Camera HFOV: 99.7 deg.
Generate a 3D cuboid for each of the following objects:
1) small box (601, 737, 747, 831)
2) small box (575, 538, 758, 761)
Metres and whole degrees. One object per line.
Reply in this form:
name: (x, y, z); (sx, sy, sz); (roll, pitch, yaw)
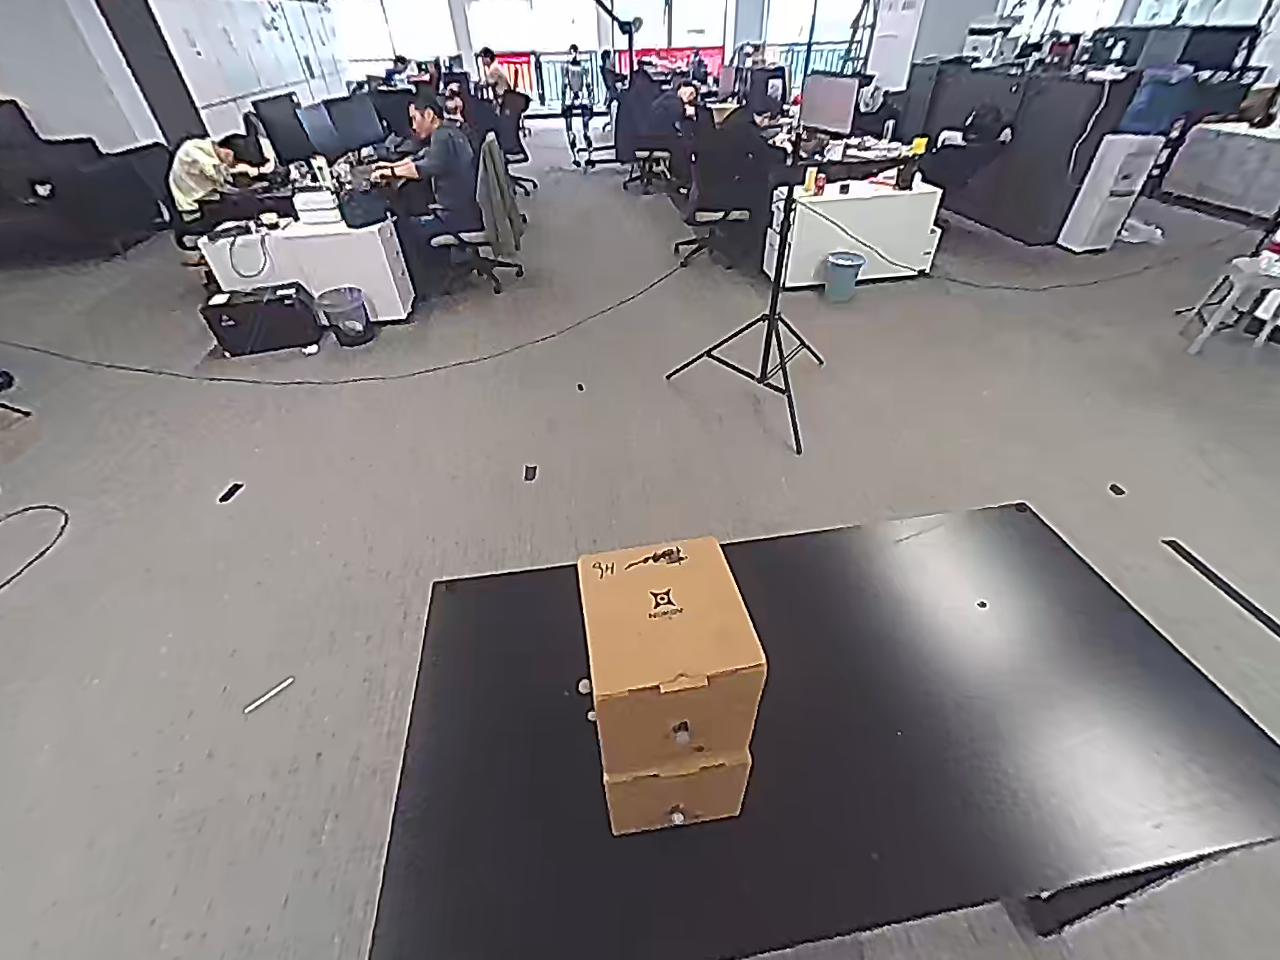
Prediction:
small box: (0.032, 0.326, 0.711); (0.168, 0.176, 0.179); (-6, 40, -4)
small box: (0.023, 0.195, 0.613); (0.168, 0.176, 0.179); (-8, 41, -7)
